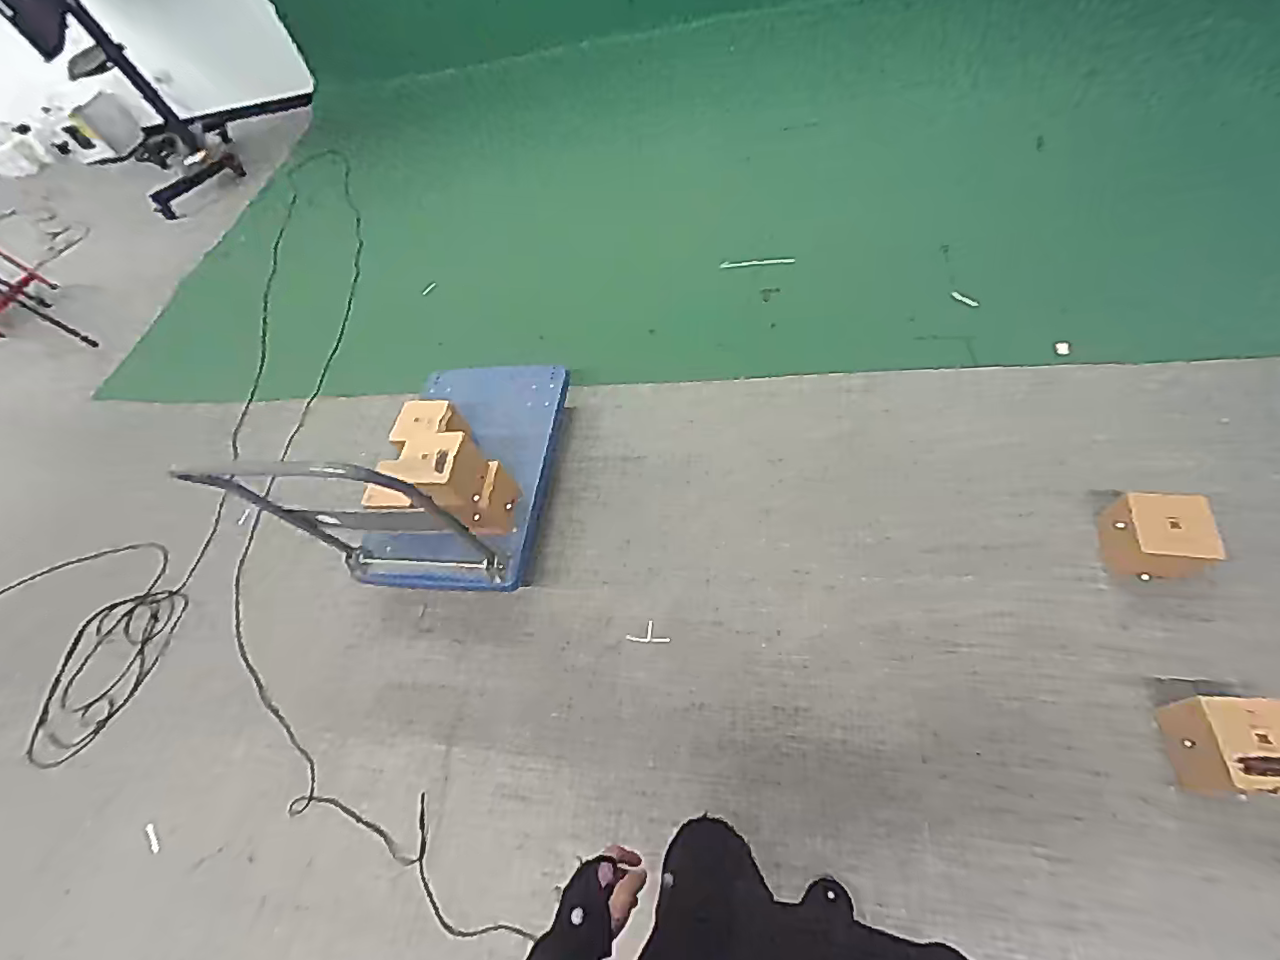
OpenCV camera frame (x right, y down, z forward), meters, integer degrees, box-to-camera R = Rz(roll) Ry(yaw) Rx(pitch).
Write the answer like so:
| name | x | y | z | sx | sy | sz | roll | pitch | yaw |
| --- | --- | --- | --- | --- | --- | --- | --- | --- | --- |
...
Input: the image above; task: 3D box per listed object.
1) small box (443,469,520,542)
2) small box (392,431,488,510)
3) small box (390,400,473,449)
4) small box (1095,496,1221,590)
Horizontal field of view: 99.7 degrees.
| name | x | y | z | sx | sy | sz | roll | pitch | yaw |
| --- | --- | --- | --- | --- | --- | --- | --- | --- | --- |
| small box | -0.501 | 0.064 | 1.672 | 0.168 | 0.176 | 0.179 | 30 | 70 | 25 |
| small box | -0.556 | -0.024 | 1.533 | 0.179 | 0.176 | 0.168 | 0 | 58 | 14 |
| small box | -0.703 | -0.155 | 1.842 | 0.179 | 0.176 | 0.168 | 4 | 60 | 15 |
| small box | 1.324 | 0.164 | 1.400 | 0.168 | 0.176 | 0.179 | 6 | 60 | 17 |
